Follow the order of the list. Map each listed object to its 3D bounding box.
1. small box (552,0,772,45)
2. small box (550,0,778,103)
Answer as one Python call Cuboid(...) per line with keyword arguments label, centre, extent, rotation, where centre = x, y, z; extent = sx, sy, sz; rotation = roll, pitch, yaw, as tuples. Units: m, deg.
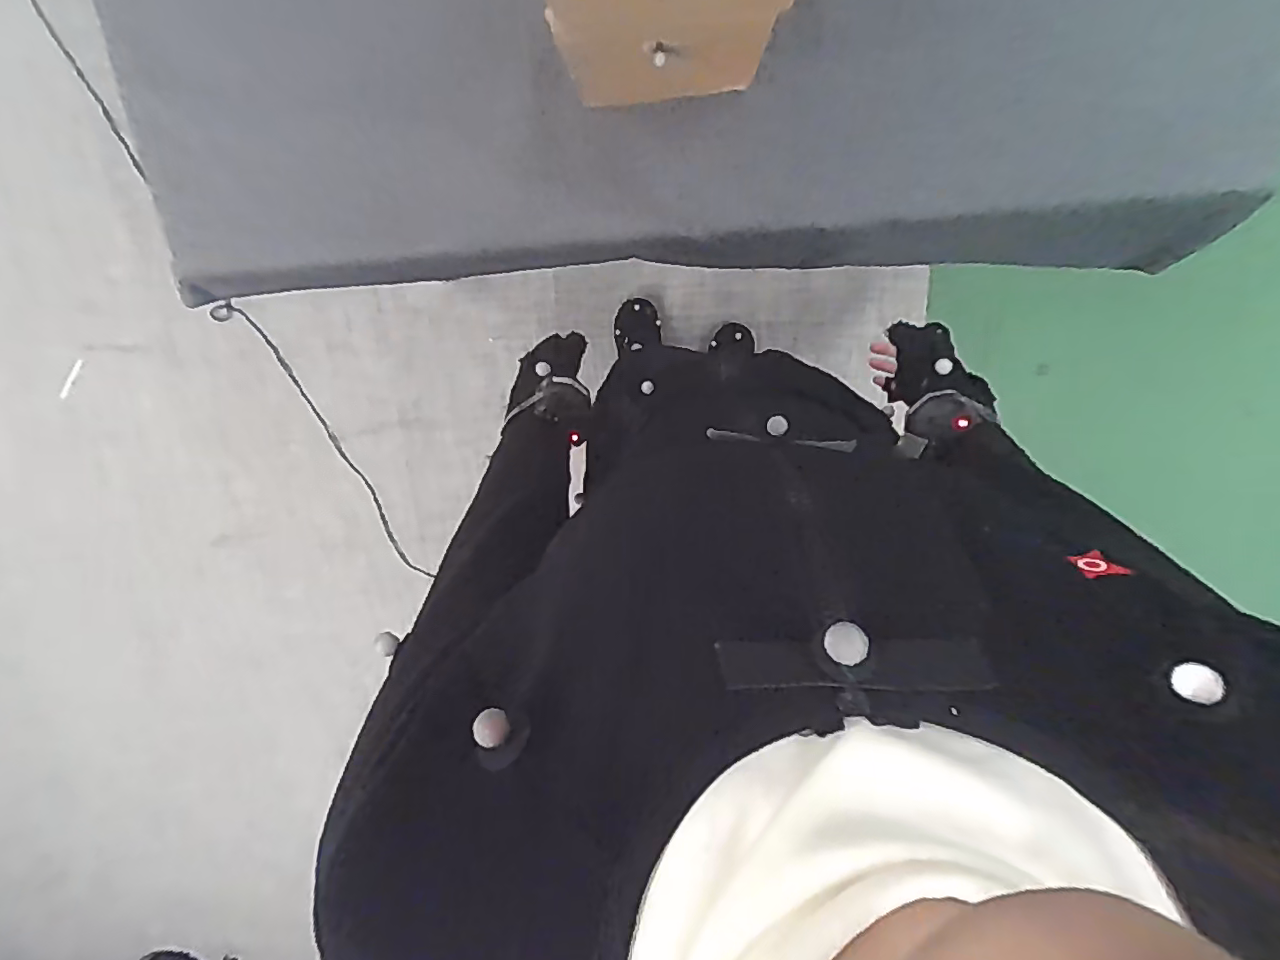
Cuboid(label="small box", centre=(0.016, -0.394, 0.312), extent=(0.179, 0.176, 0.168), rotation=(-7, 109, 5))
Cuboid(label="small box", centre=(0.017, -0.451, 0.466), extent=(0.179, 0.176, 0.168), rotation=(-4, 109, 3))
